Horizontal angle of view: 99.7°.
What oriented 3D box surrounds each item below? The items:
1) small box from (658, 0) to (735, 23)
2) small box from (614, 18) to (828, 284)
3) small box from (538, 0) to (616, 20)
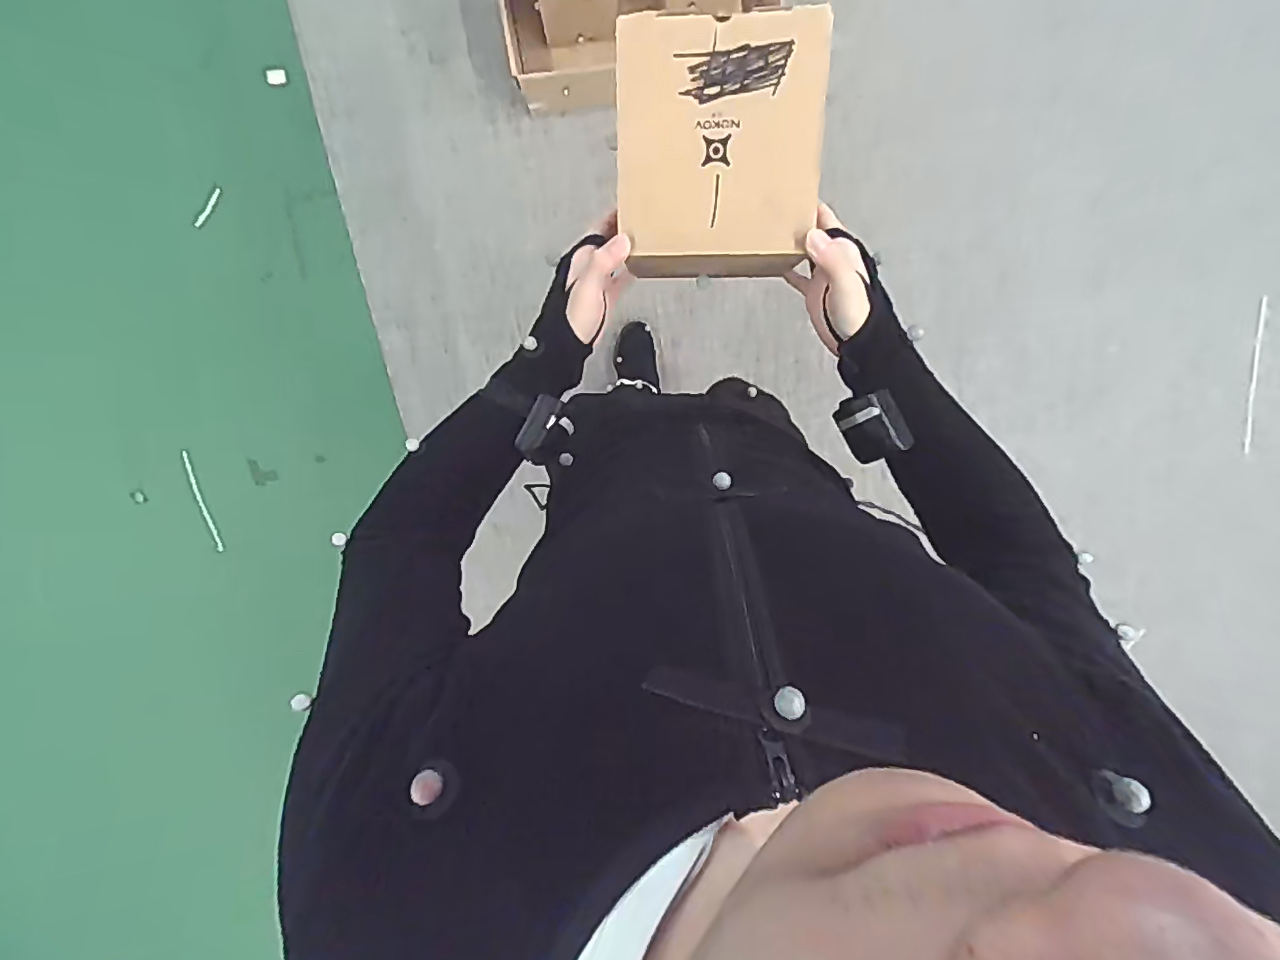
[{"bbox_3d":[0.125,-1.137,1.209,0.168,0.176,0.179,-7,105,1],"label":"small box"},{"bbox_3d":[0.067,-0.289,0.514,0.168,0.176,0.179,2,105,5],"label":"small box"},{"bbox_3d":[-0.137,-1.051,1.050,0.168,0.176,0.179,-9,105,0],"label":"small box"}]
